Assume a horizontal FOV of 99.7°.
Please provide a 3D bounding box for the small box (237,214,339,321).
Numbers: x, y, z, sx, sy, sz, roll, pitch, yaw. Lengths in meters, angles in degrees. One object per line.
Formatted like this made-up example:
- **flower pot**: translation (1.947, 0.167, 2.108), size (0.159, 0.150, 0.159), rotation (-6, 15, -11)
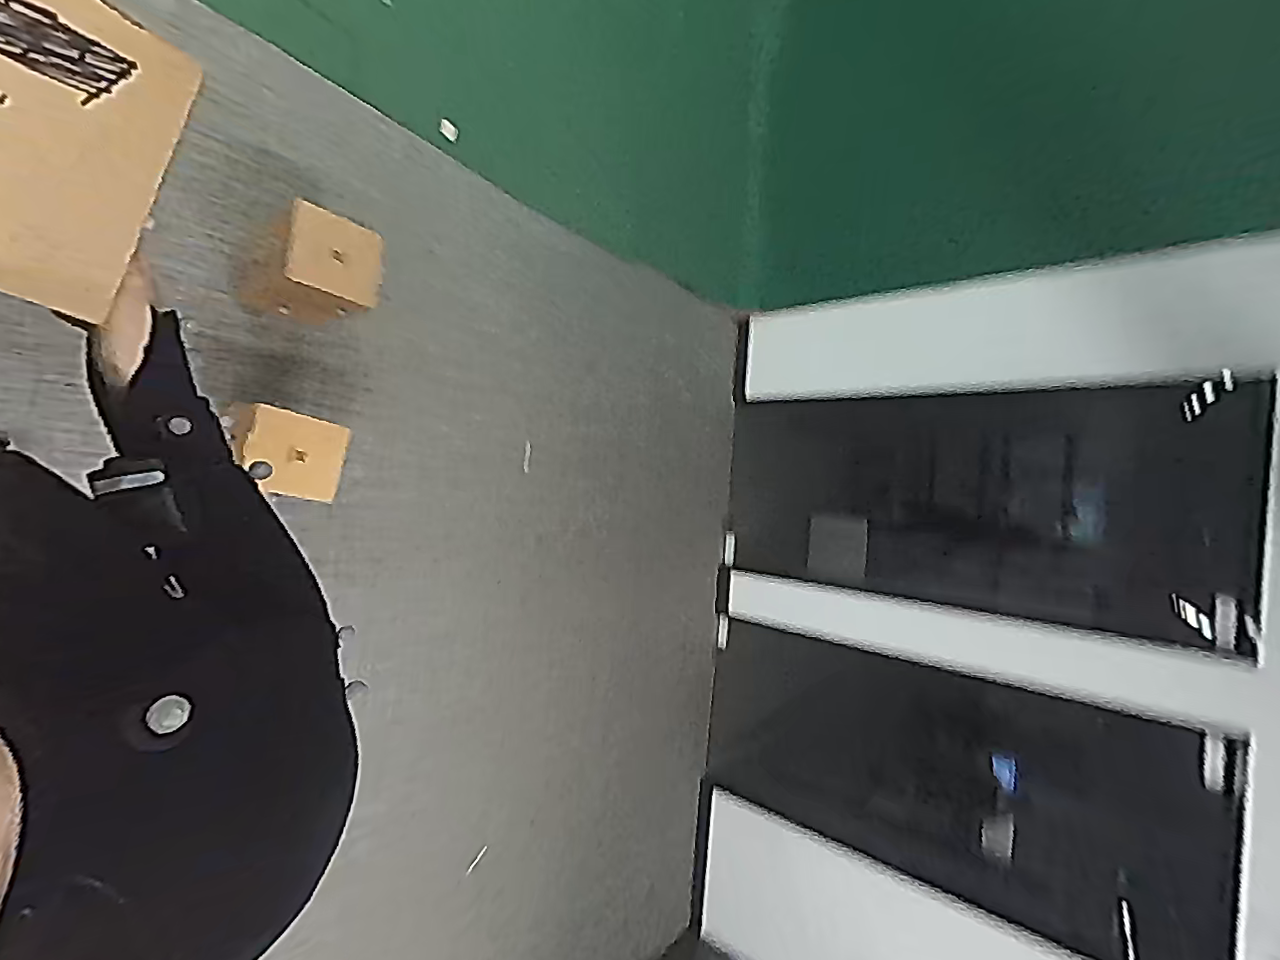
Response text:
- **small box**: translation (-0.823, -0.491, 1.285), size (0.179, 0.176, 0.168), rotation (15, 83, -50)

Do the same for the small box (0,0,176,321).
- **small box**: translation (-0.424, -0.218, 0.321), size (0.168, 0.176, 0.179), rotation (20, 90, -53)

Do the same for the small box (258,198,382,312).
- **small box**: translation (-0.698, -0.477, 1.181), size (0.179, 0.176, 0.168), rotation (9, 86, -50)

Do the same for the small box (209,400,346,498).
- **small box**: translation (-0.766, -0.065, 1.145), size (0.179, 0.176, 0.168), rotation (20, 78, -50)
